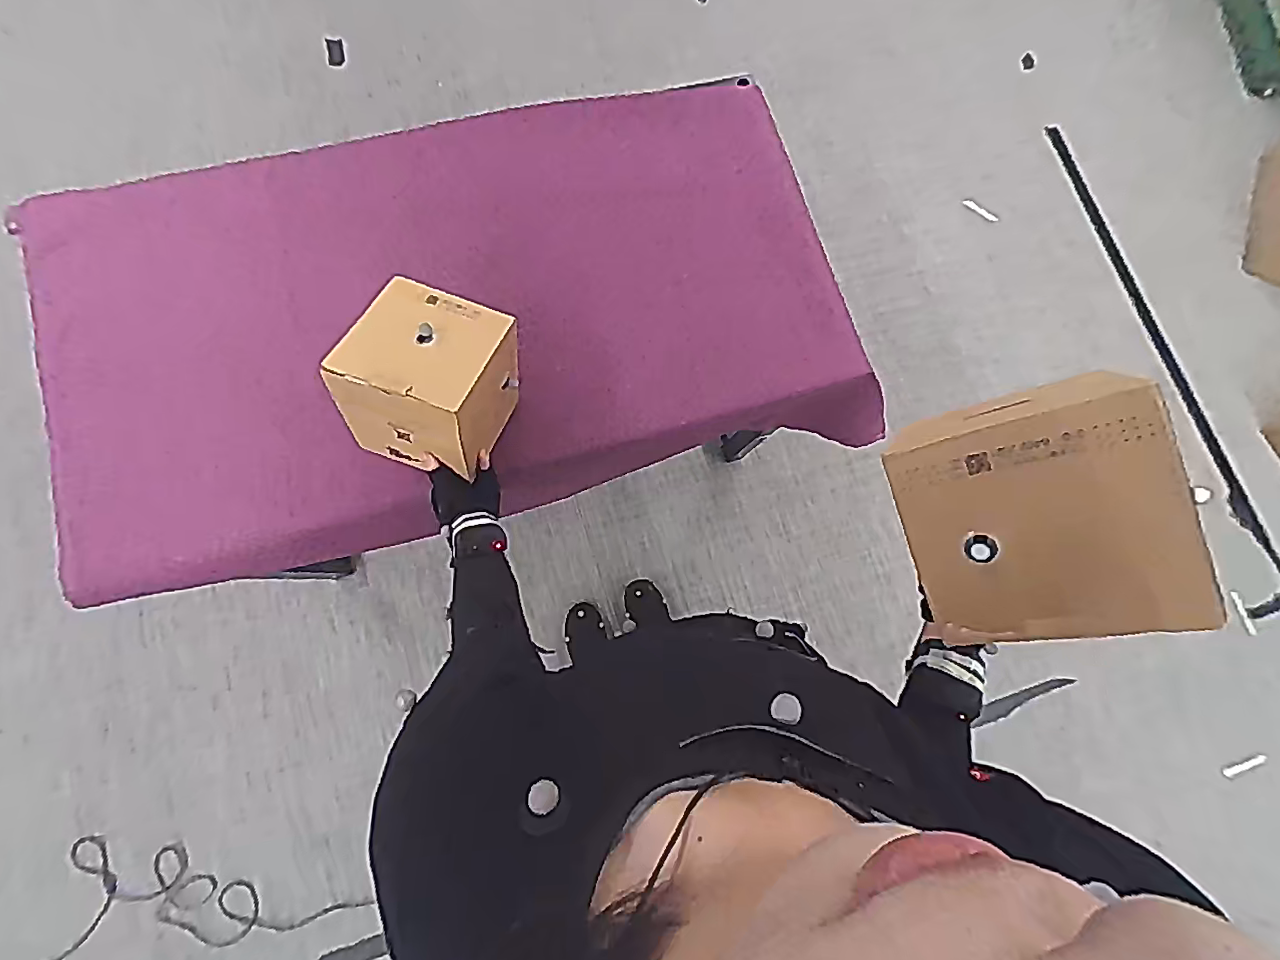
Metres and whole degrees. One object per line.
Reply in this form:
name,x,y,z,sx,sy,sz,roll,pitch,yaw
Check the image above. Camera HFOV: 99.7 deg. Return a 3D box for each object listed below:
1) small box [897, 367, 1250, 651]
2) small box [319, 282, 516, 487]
small box,0.323,0.016,0.437,0.168,0.179,0.176,-16,94,34
small box,-0.271,-0.124,0.707,0.168,0.179,0.176,20,58,1
